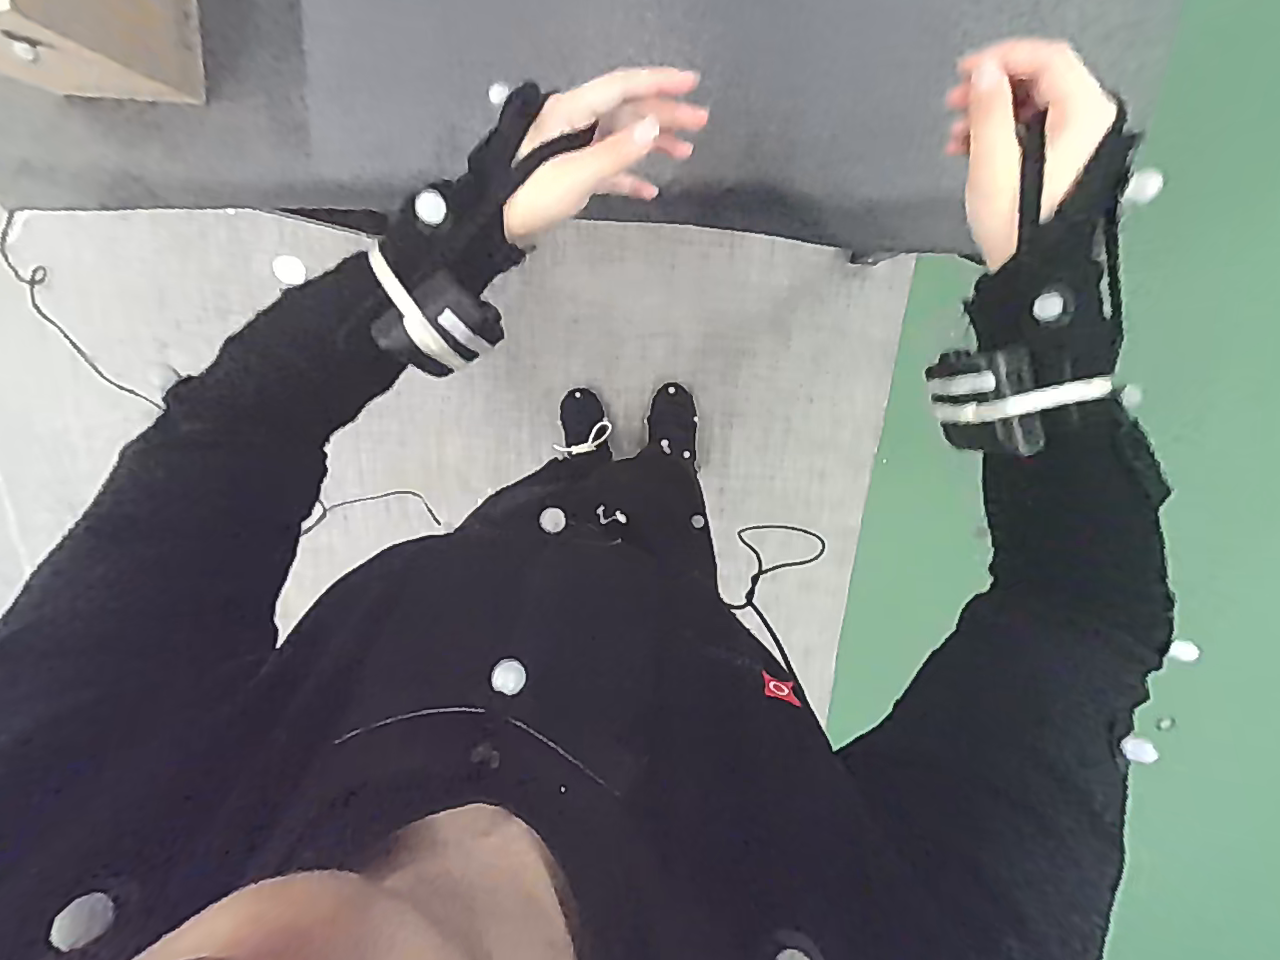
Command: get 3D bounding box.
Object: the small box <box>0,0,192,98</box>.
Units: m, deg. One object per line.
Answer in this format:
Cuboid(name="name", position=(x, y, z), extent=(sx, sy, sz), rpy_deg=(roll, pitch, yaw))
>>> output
Cuboid(name="small box", position=(-0.528, -0.455, 0.461), extent=(0.179, 0.176, 0.168), rpy_deg=(7, 105, 5))
